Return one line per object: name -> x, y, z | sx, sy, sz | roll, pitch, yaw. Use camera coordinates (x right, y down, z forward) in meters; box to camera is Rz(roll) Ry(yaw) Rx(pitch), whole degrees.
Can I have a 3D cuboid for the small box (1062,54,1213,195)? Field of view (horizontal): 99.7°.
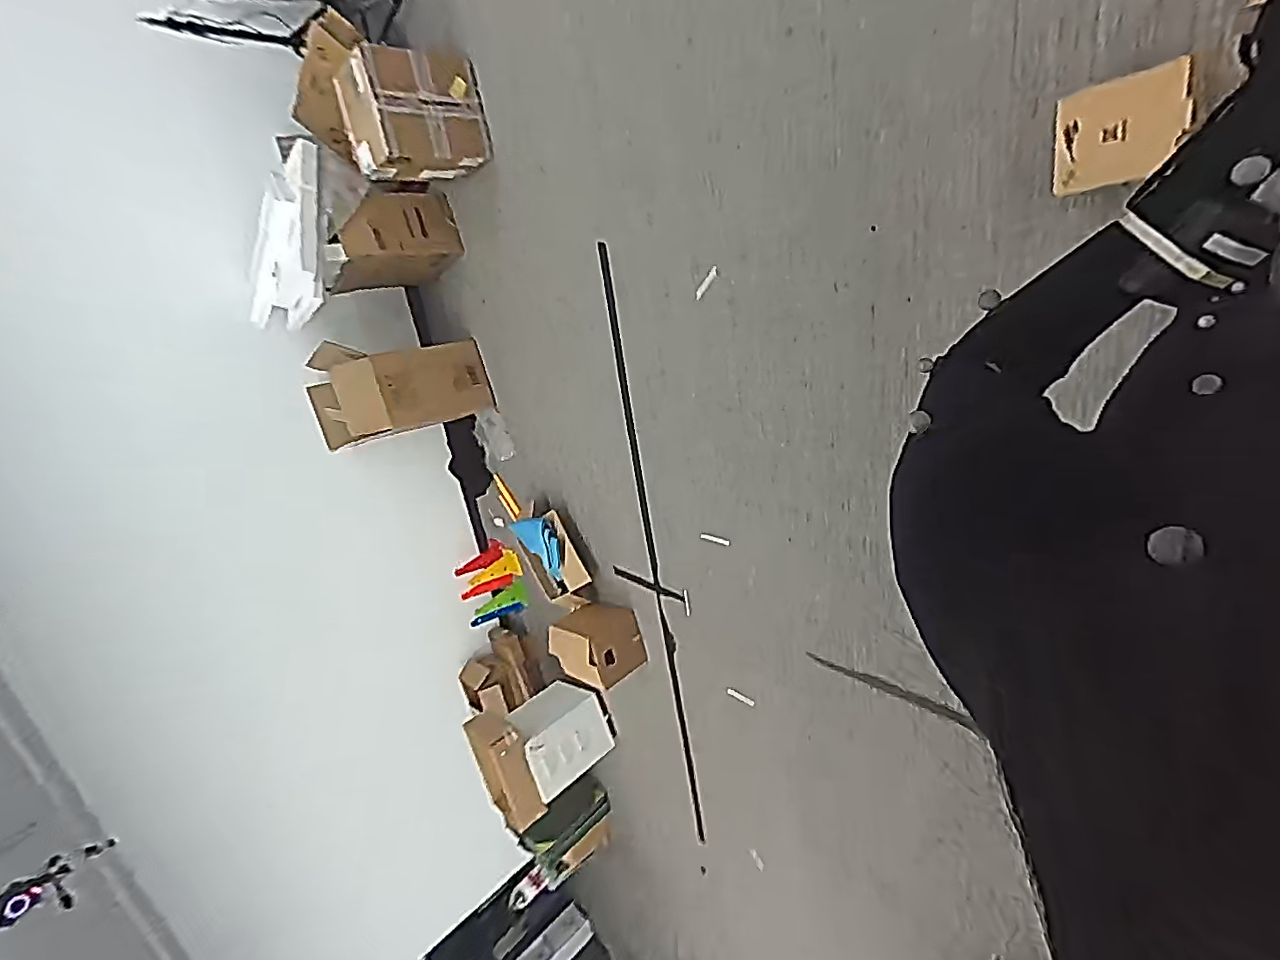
small box -> 0.896, -0.629, 0.976 | 0.179, 0.176, 0.168 | 10, 117, 48
